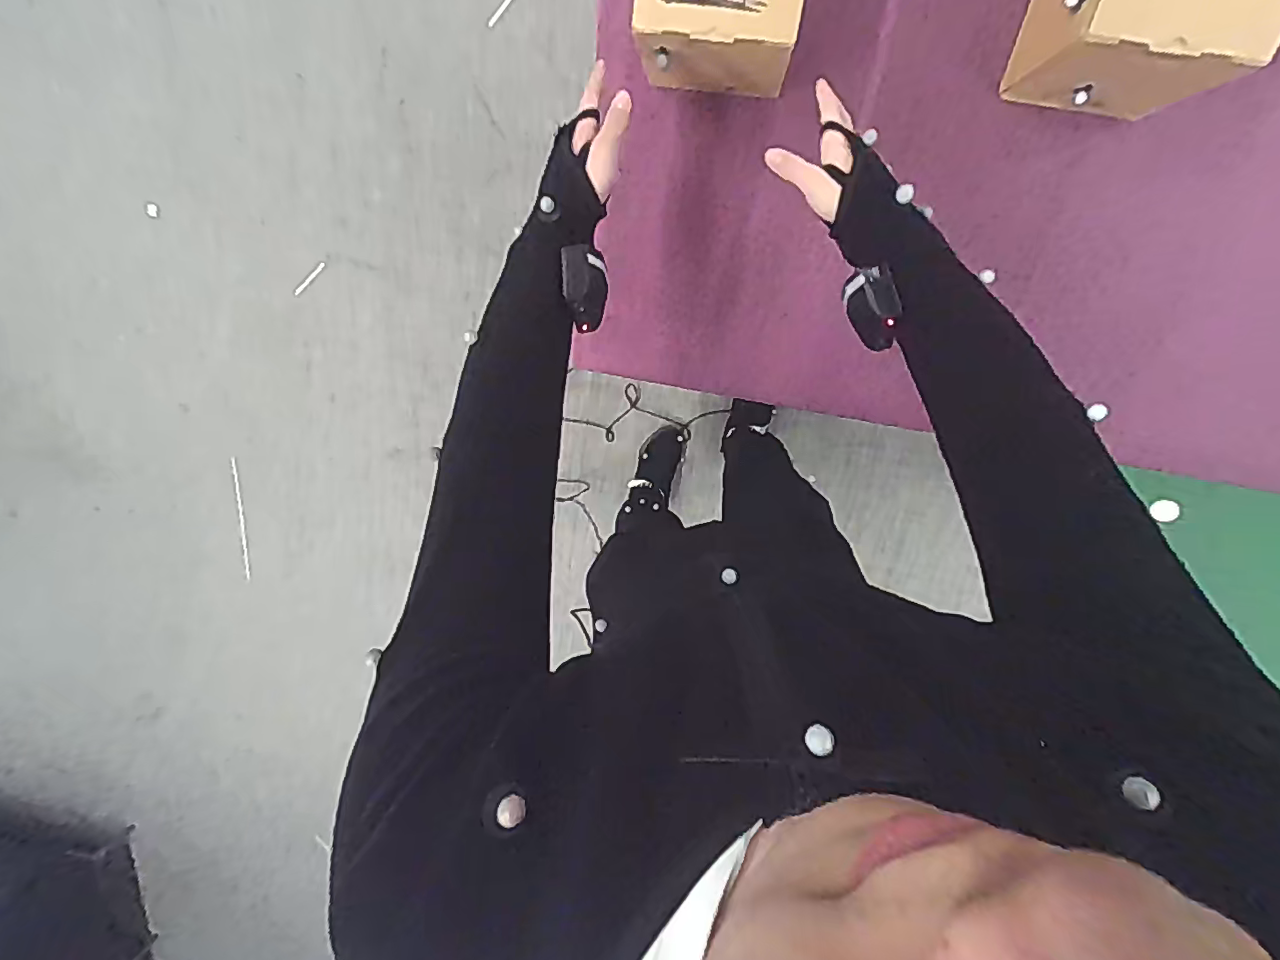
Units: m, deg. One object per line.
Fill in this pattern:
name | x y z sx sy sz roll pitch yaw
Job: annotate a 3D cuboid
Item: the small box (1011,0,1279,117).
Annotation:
small box | 0.517 -0.496 0.538 0.168 0.176 0.179 12 112 3
